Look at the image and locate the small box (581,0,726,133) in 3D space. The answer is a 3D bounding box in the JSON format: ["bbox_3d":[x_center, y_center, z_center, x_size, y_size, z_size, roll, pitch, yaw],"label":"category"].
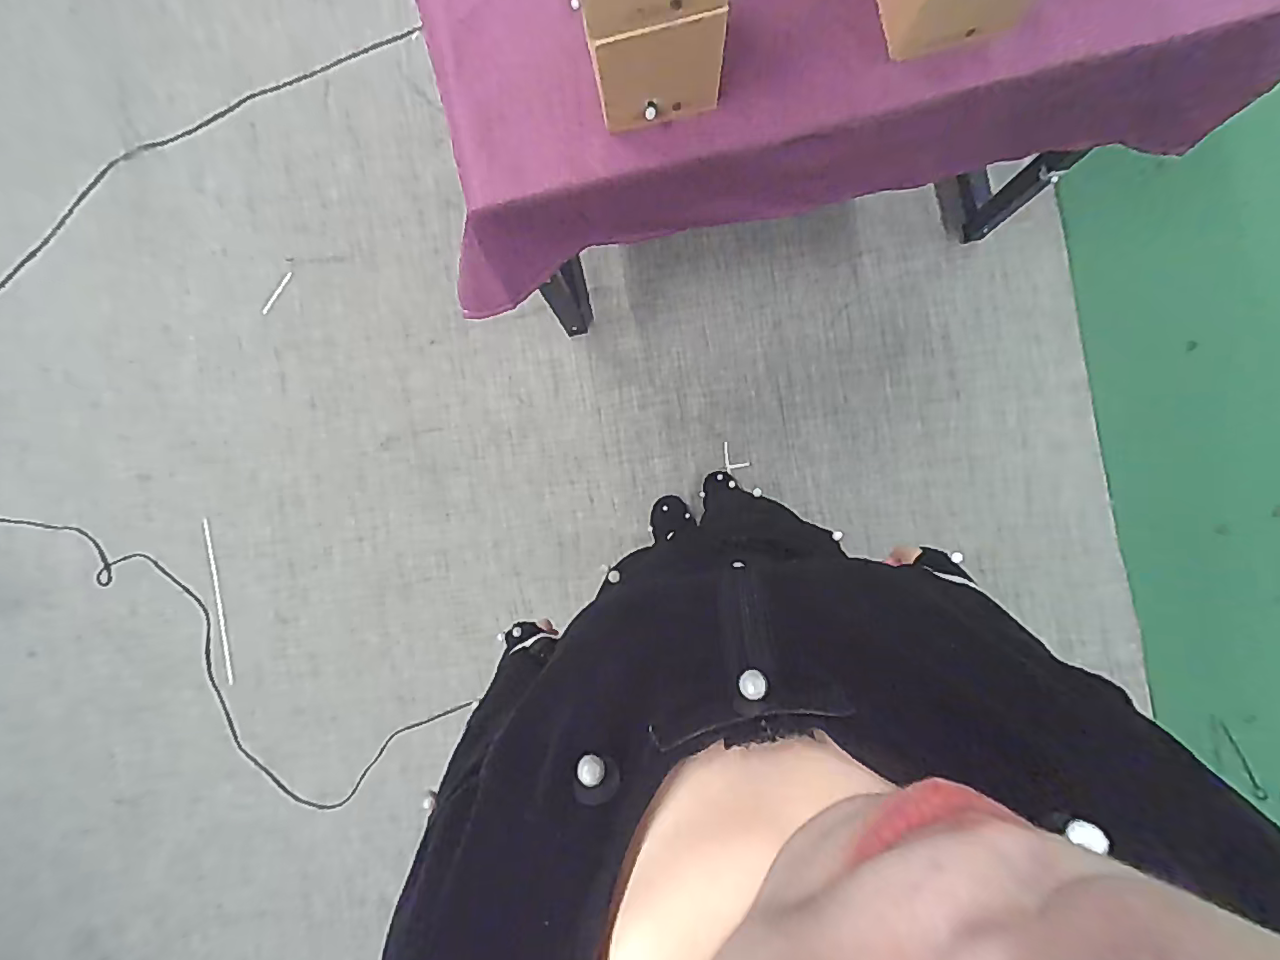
[{"bbox_3d":[0.010,-0.613,0.722,0.168,0.176,0.179,-11,89,3],"label":"small box"}]

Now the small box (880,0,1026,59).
[{"bbox_3d":[0.419,-0.707,0.700,0.168,0.176,0.179,-12,88,4],"label":"small box"}]
